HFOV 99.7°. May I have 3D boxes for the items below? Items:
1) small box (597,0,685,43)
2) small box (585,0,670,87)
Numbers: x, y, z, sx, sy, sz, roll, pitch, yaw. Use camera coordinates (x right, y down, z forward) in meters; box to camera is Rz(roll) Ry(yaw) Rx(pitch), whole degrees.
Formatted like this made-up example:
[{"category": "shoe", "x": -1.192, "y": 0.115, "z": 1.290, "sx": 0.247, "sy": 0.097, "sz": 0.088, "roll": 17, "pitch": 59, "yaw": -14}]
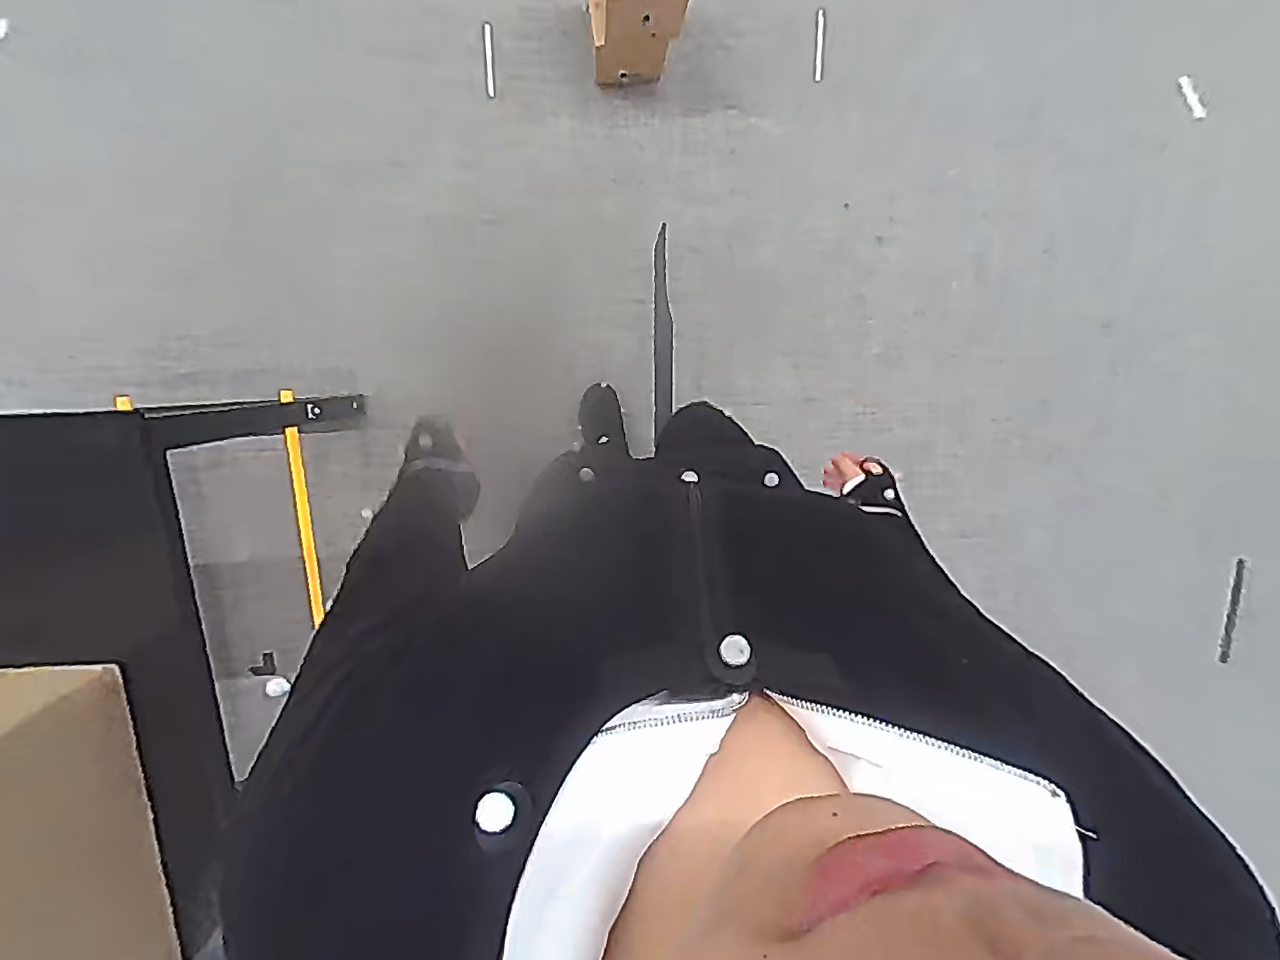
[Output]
[{"category": "small box", "x": -0.002, "y": -0.992, "z": 1.052, "sx": 0.168, "sy": 0.176, "sz": 0.179, "roll": -9, "pitch": 102, "yaw": -2}, {"category": "small box", "x": -0.032, "y": -1.024, "z": 1.211, "sx": 0.168, "sy": 0.176, "sz": 0.179, "roll": -8, "pitch": 103, "yaw": -2}]
